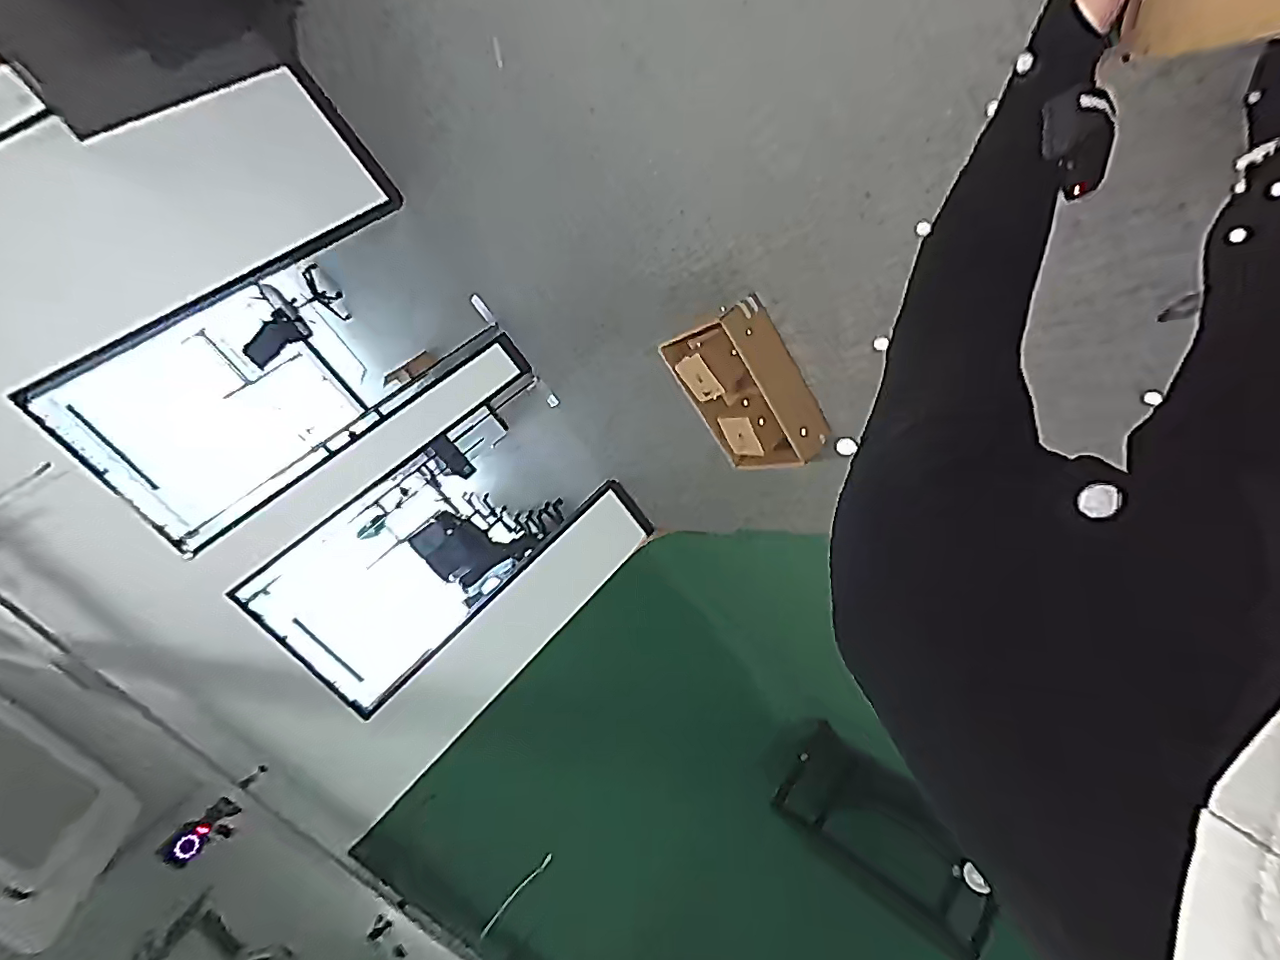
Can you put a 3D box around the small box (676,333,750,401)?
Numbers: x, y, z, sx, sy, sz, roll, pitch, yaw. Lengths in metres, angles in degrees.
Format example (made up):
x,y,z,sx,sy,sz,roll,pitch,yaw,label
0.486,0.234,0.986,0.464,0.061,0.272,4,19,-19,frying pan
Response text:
x,y,z,sx,sy,sz,roll,pitch,yaw,label
0.273,-0.427,2.015,0.179,0.176,0.168,52,155,-14,small box
